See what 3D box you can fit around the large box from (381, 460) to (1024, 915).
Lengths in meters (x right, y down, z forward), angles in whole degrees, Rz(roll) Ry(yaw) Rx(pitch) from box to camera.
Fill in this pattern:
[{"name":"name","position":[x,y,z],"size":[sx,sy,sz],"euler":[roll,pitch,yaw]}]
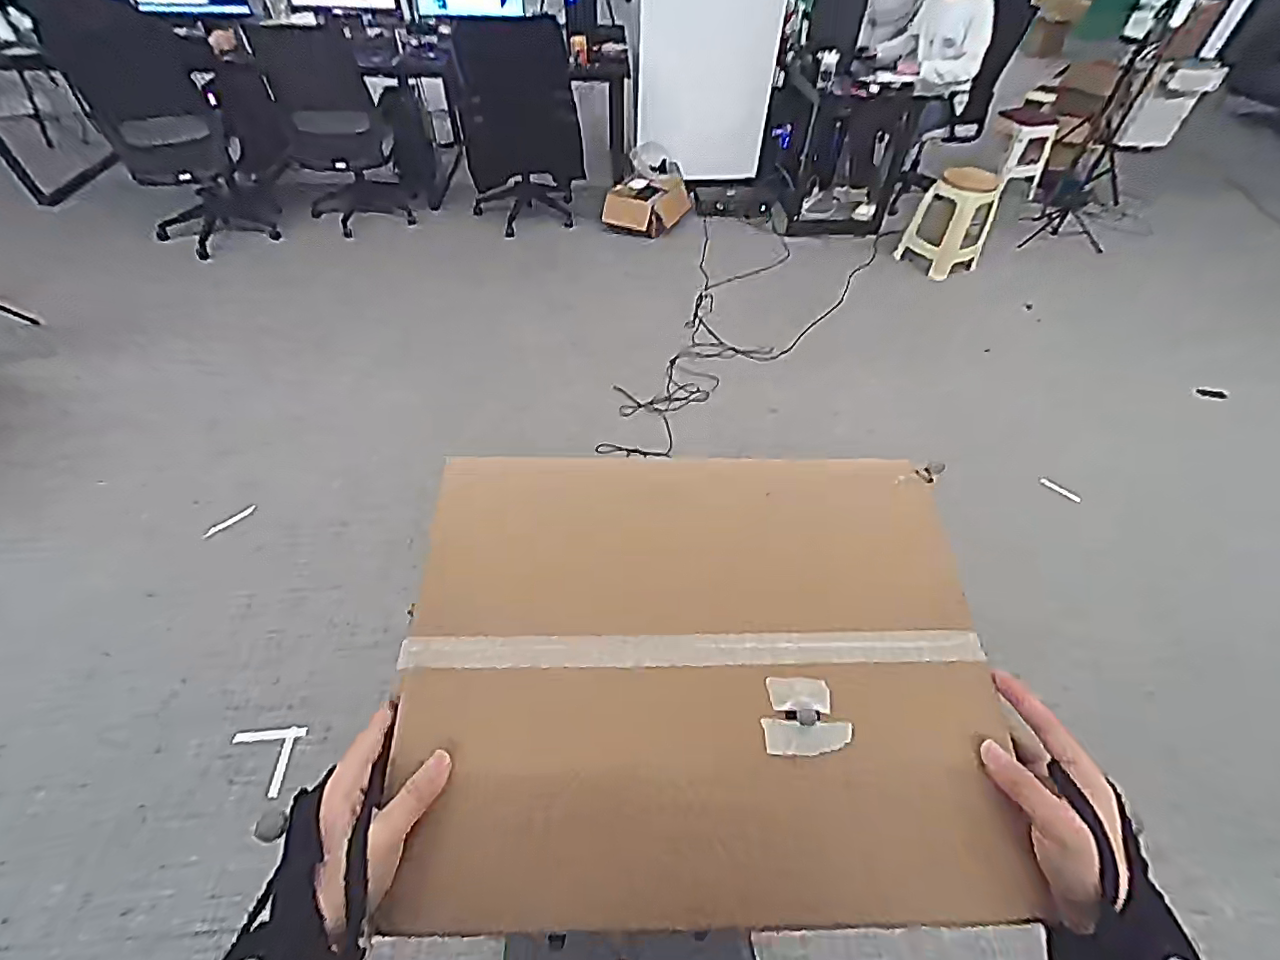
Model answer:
[{"name":"large box","position":[0.033,0.189,0.527],"size":[0.408,0.320,0.320],"euler":[0,62,-2]}]
